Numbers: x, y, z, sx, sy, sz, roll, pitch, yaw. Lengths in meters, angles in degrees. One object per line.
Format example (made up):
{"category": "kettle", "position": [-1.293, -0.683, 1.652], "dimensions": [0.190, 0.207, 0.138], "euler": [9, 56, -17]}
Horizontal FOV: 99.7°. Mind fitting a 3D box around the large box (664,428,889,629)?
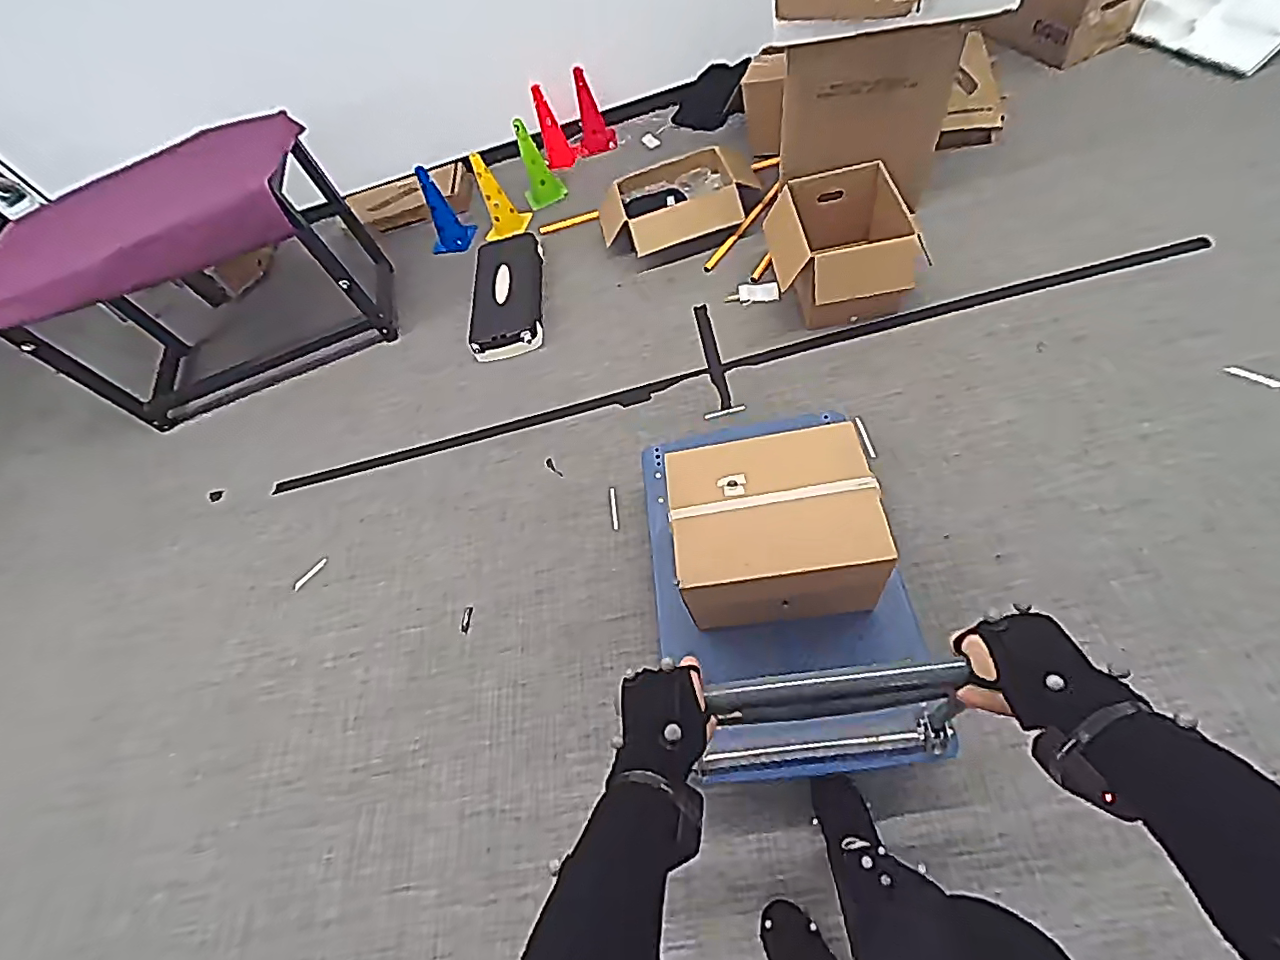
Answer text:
{"category": "large box", "position": [0.293, 0.128, 1.227], "dimensions": [0.408, 0.320, 0.320], "euler": [-11, 58, 9]}
